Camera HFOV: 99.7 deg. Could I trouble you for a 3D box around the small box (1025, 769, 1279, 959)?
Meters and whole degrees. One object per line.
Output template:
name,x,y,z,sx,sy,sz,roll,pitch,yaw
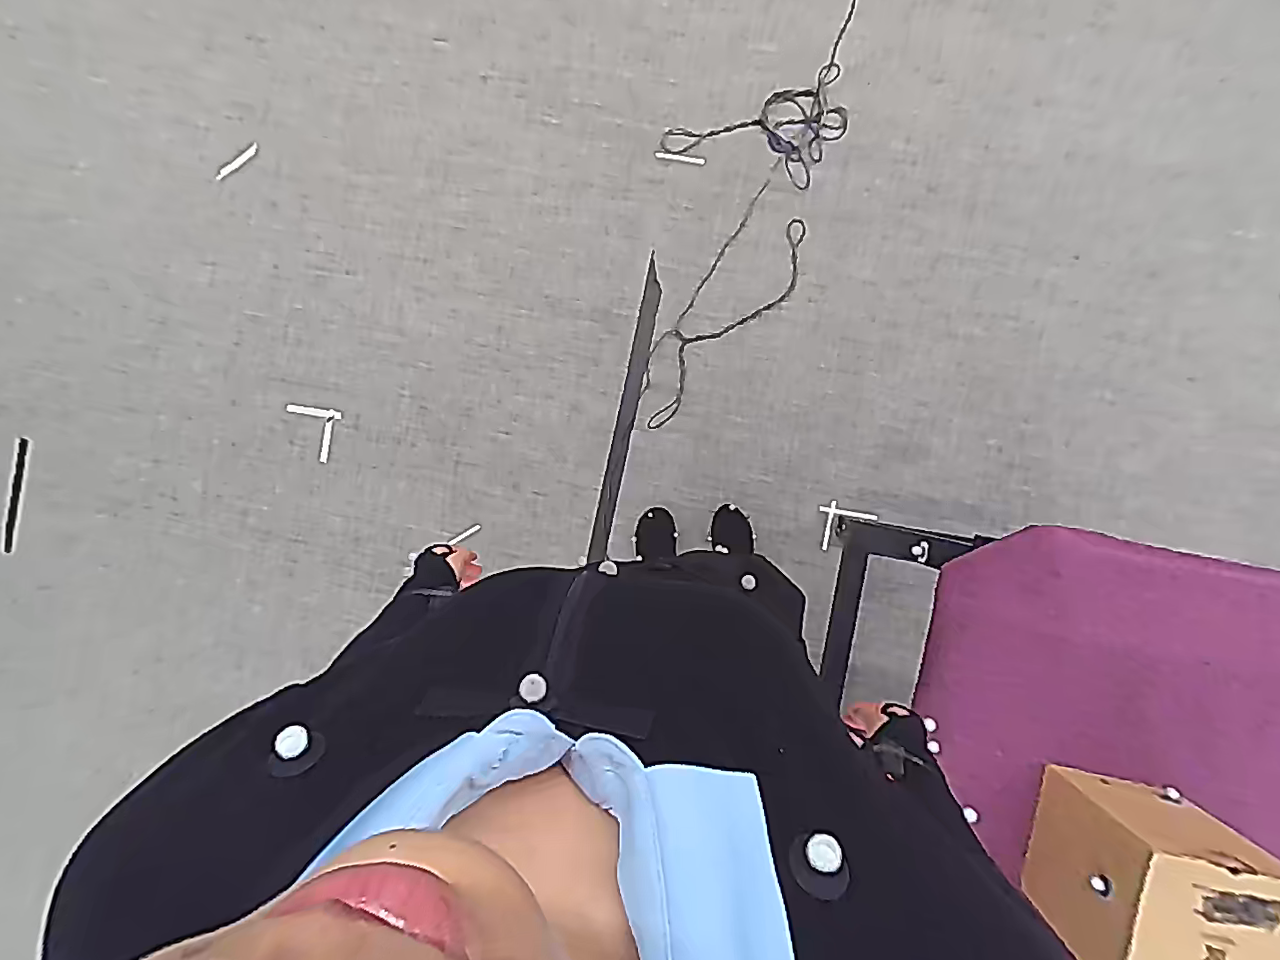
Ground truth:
small box,0.596,0.477,0.635,0.168,0.176,0.179,11,92,5
